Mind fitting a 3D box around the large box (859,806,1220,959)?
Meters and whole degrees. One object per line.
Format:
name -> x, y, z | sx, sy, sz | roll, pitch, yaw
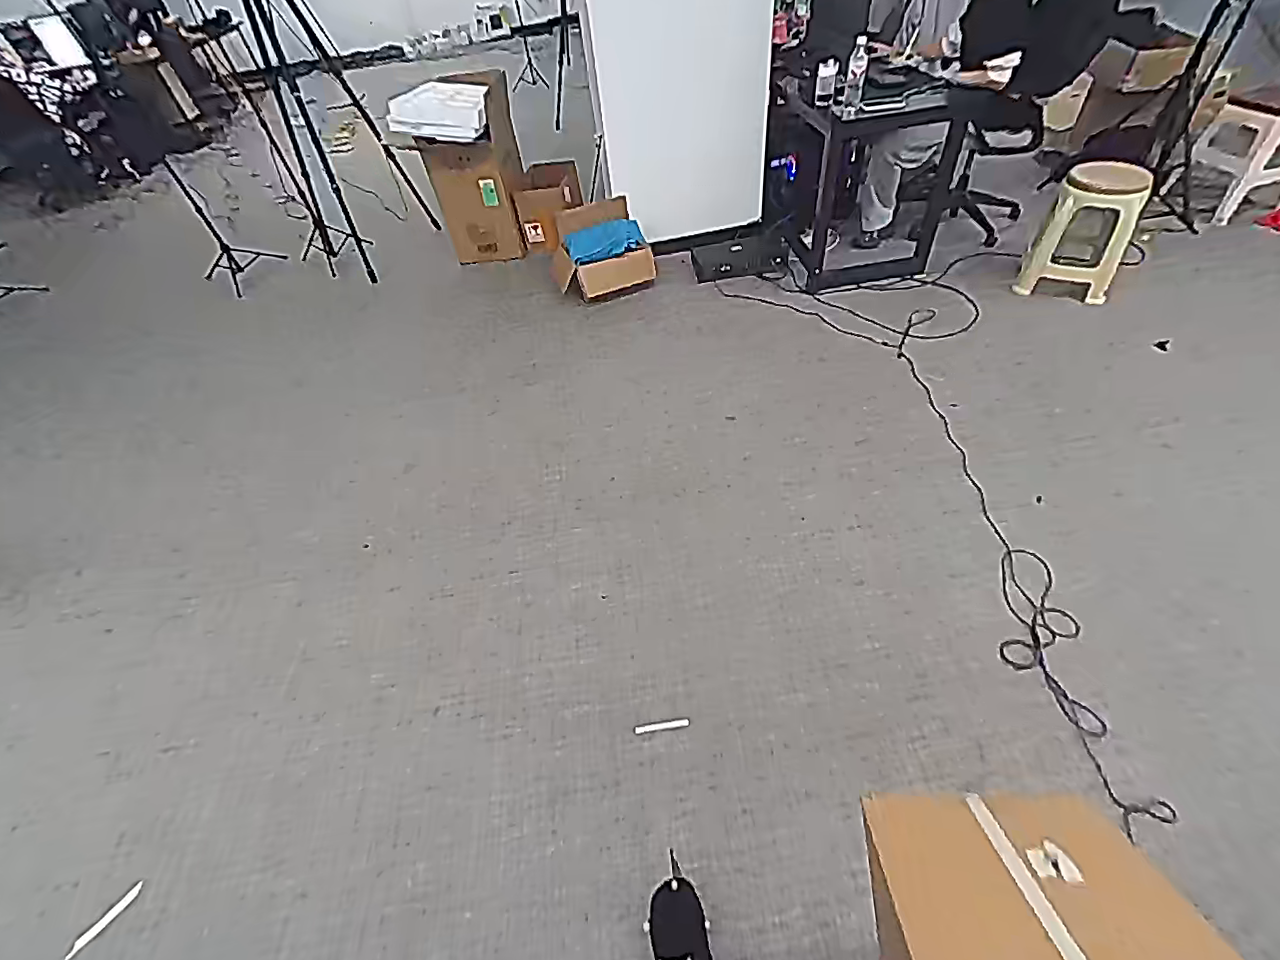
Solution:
large box -> 0.473, 0.657, 0.626 | 0.320, 0.408, 0.320 | -5, 91, 11
